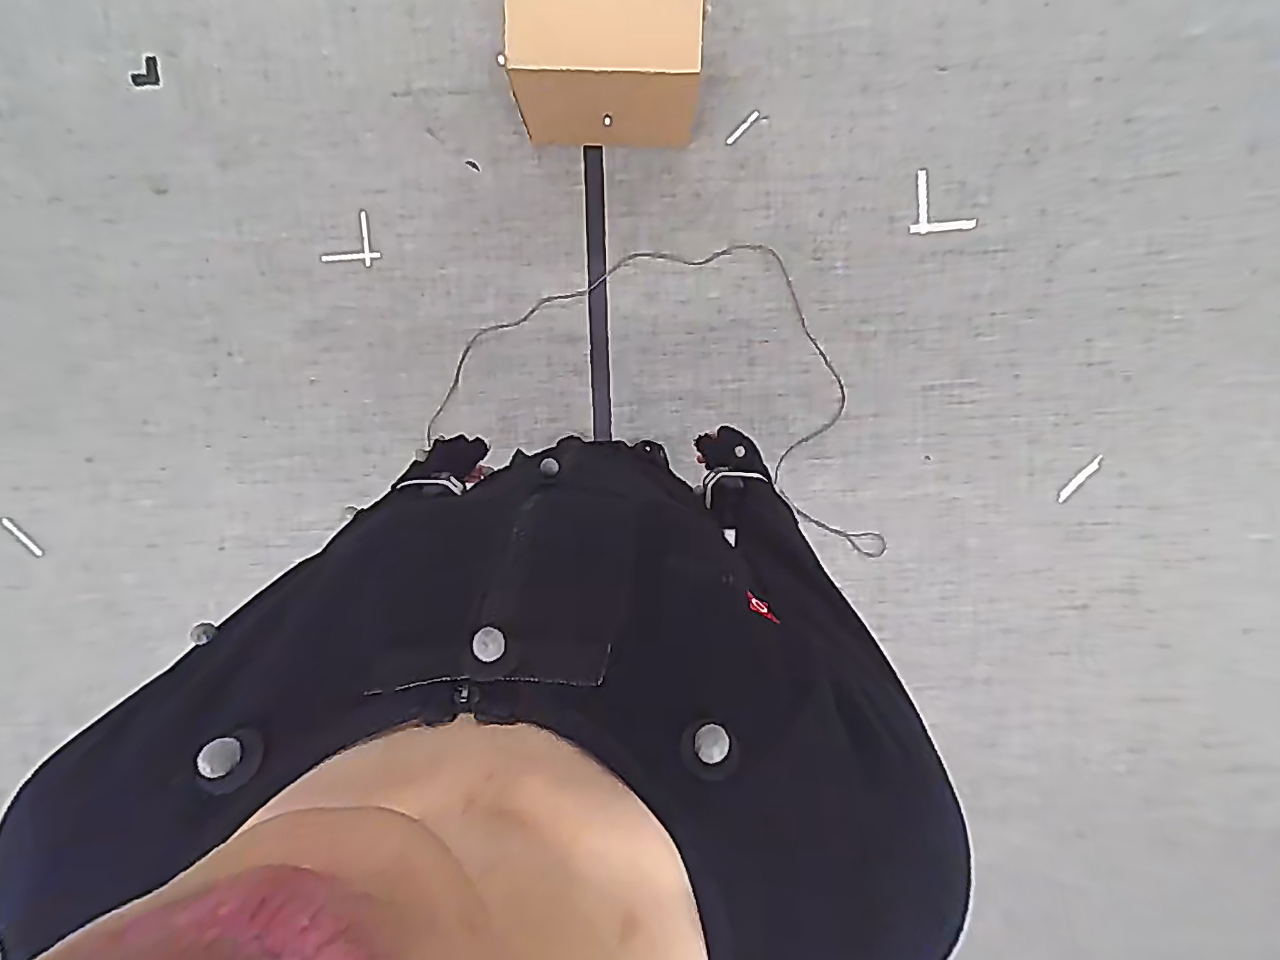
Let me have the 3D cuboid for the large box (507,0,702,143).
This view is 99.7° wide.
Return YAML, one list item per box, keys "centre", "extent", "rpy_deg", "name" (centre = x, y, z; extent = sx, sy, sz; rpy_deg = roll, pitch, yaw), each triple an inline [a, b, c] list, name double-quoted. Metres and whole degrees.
- centre: [-0.071, -1.008, 1.241]
  extent: [0.408, 0.320, 0.320]
  rpy_deg: [1, 95, 0]
  name: "large box"
